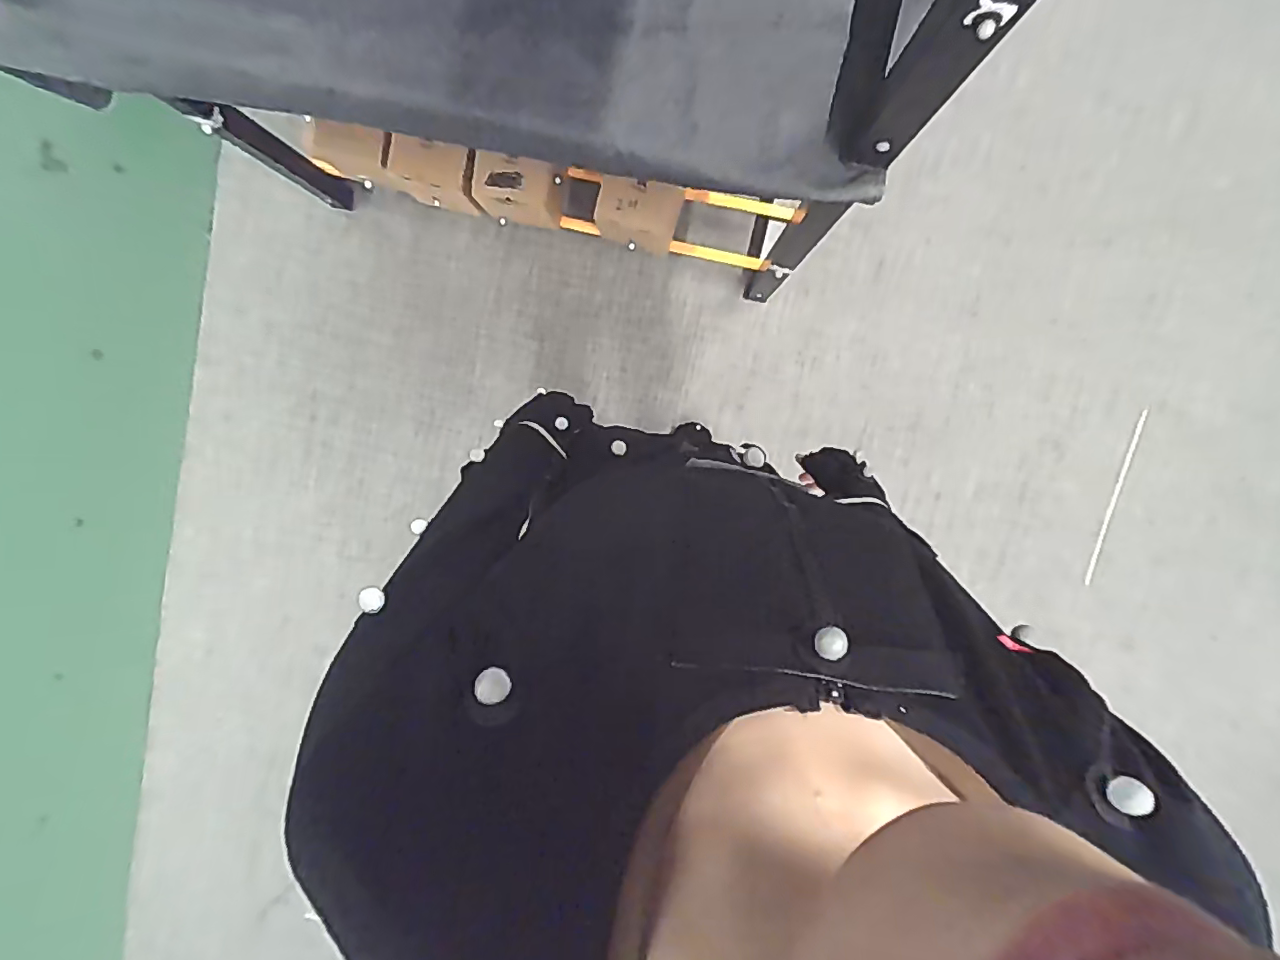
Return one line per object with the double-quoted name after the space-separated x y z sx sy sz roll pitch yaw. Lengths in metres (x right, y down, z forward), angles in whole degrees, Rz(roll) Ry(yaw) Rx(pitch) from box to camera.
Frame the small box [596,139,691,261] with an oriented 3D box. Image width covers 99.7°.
0.010 -0.627 1.232 0.168 0.176 0.179 18 99 1 "small box"
